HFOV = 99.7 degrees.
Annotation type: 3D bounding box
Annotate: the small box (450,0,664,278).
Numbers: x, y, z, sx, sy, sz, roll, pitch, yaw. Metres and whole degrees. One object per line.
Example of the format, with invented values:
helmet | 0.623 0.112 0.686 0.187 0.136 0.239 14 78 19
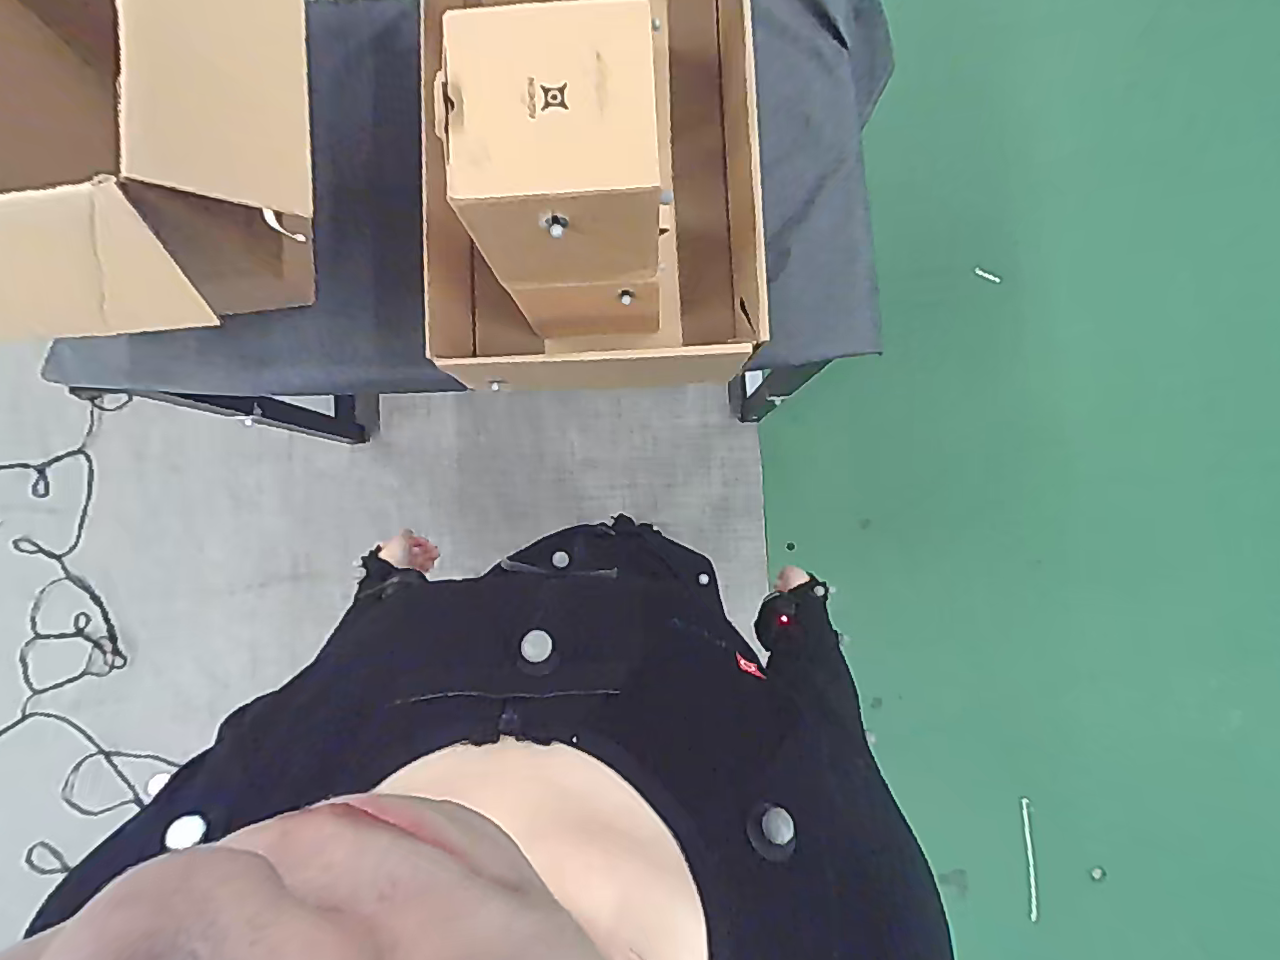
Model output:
small box | -0.069 -0.311 0.528 0.179 0.176 0.168 -3 88 0
